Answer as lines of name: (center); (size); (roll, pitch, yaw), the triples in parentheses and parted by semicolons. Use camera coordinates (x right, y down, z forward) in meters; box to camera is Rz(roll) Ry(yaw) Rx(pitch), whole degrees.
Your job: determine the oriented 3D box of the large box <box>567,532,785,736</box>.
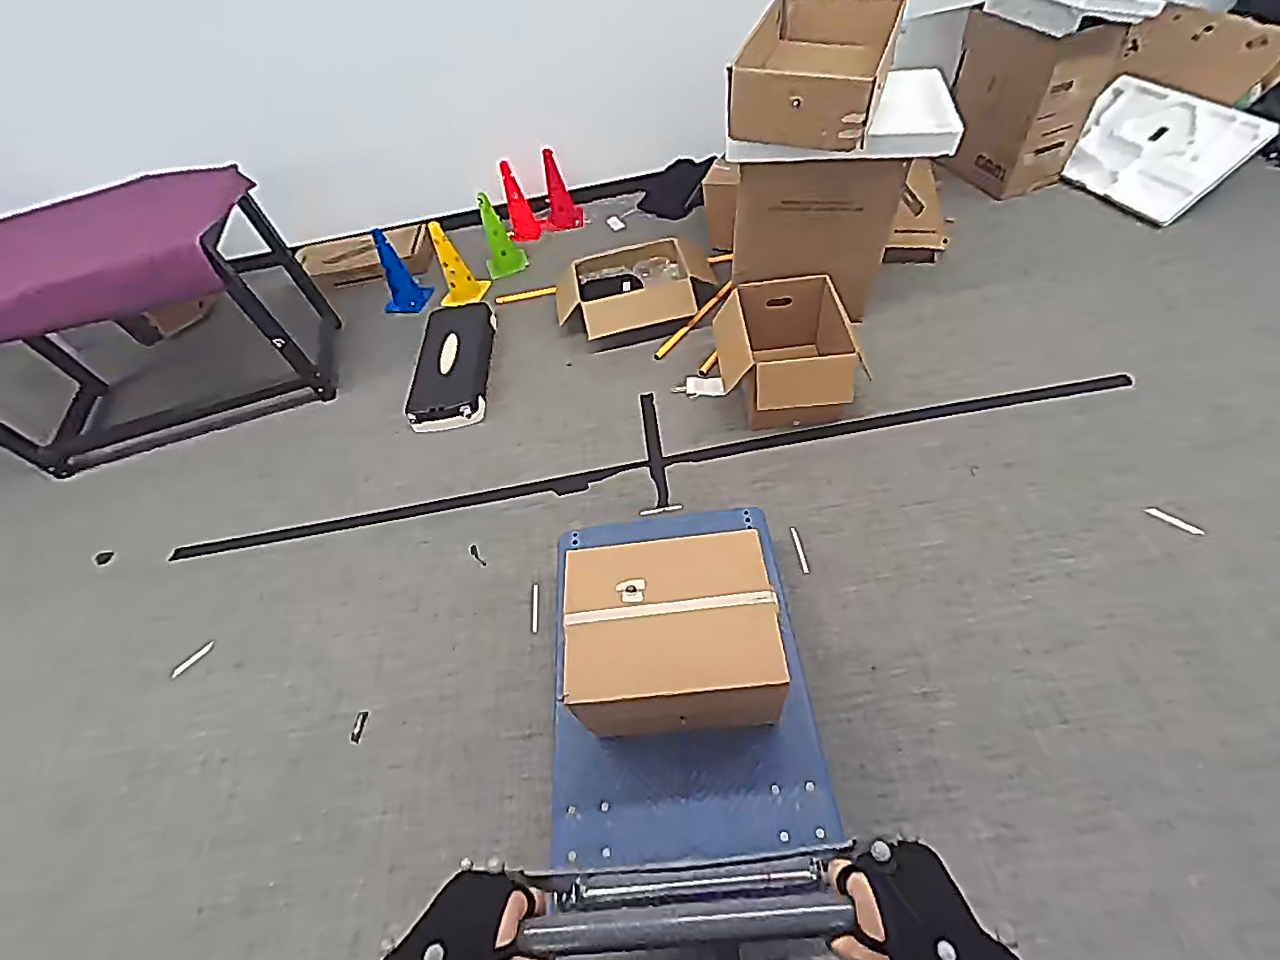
large box: (0.075, 0.347, 1.180); (0.408, 0.320, 0.320); (-8, 52, 5)
